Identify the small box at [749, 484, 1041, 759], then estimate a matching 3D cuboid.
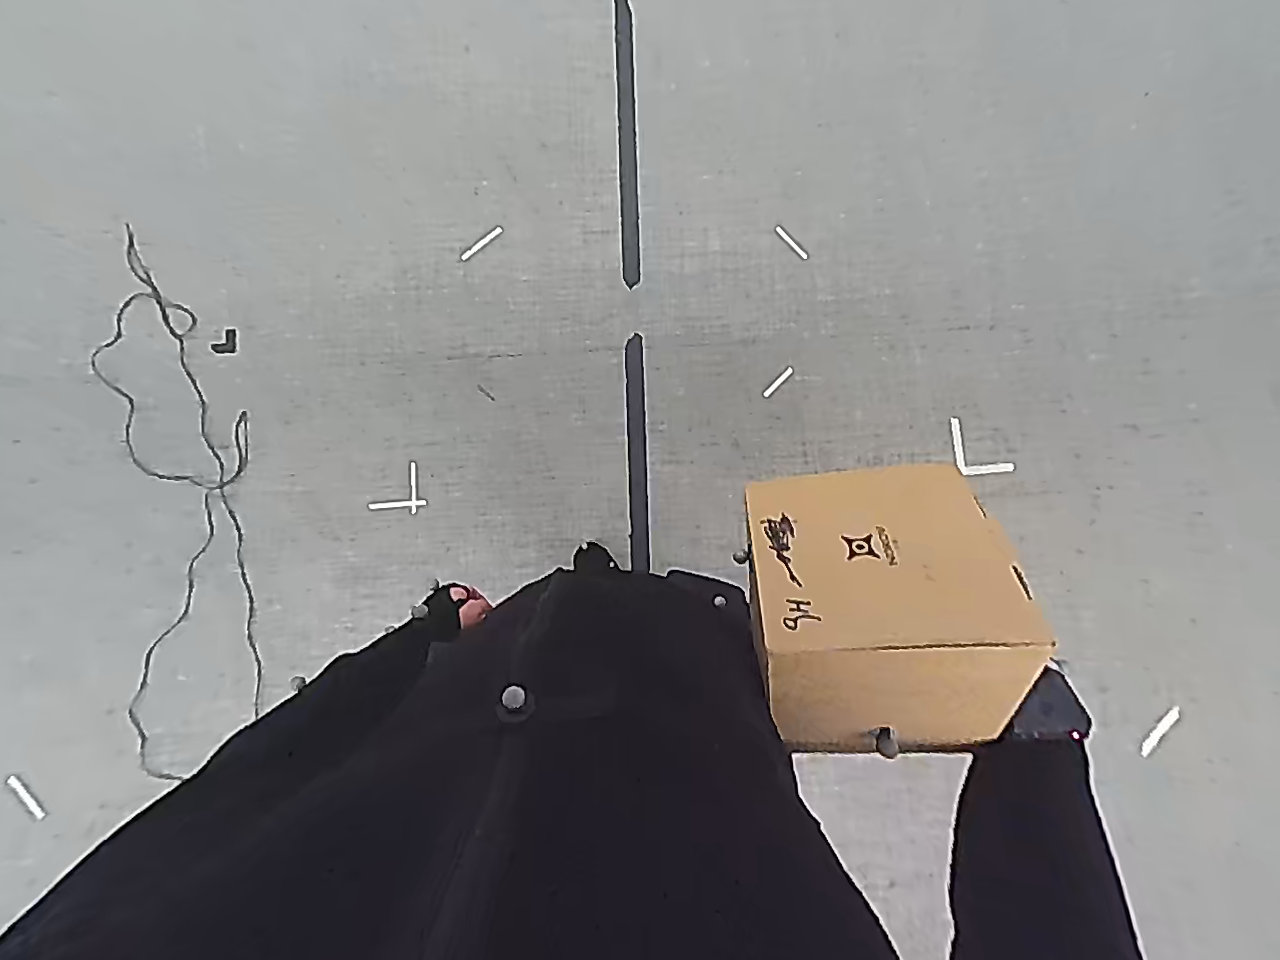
[{"bbox_3d":[0.190,0.124,0.468,0.179,0.176,0.168,-5,41,8],"label":"small box"}]
